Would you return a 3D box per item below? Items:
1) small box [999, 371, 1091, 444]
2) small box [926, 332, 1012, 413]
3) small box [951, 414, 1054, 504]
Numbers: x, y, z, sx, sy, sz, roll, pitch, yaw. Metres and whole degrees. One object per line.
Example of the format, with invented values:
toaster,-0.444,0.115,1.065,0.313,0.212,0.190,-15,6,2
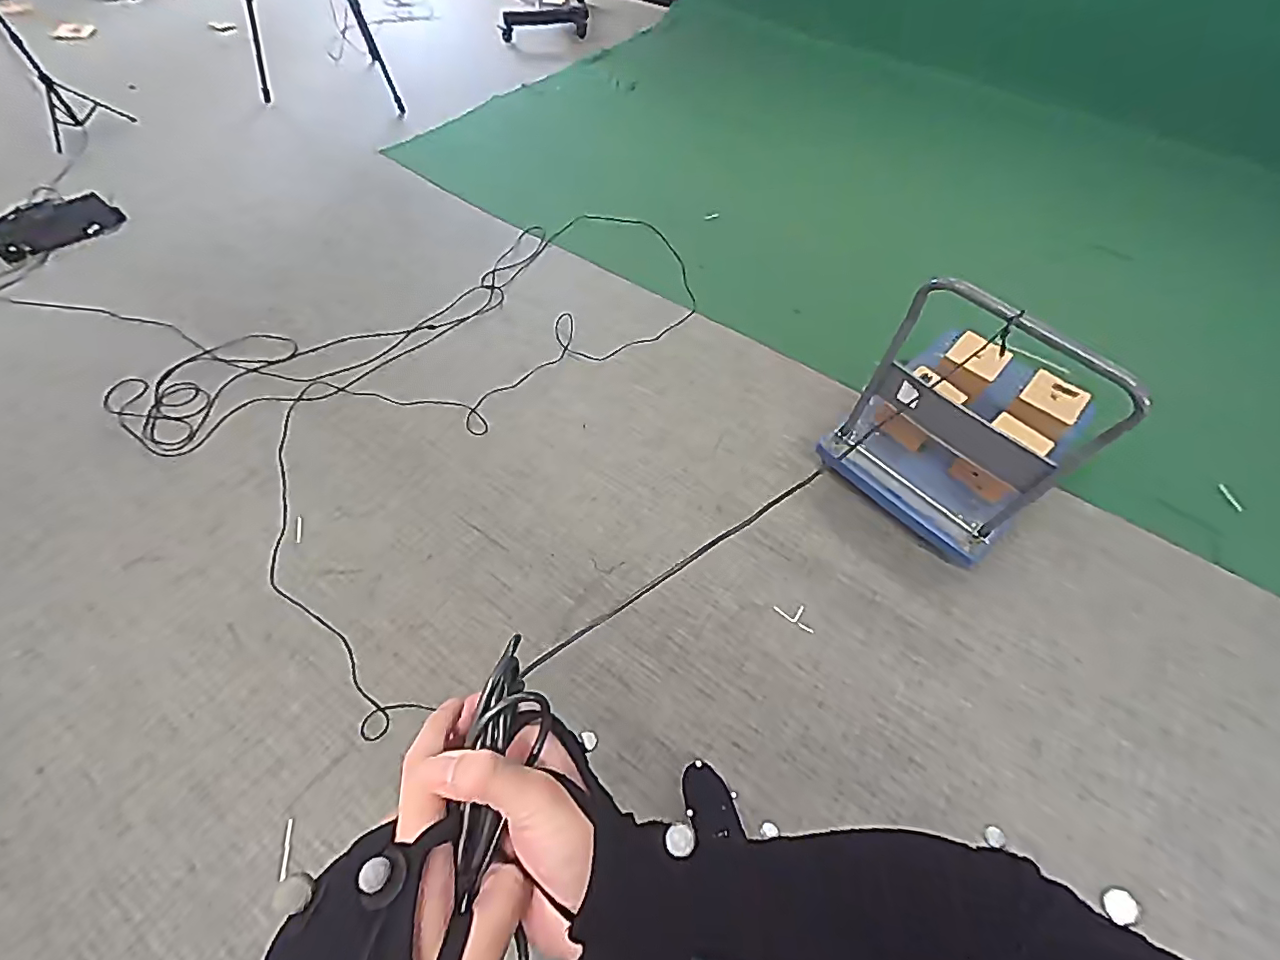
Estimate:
small box,1.294,-0.214,1.753,0.168,0.176,0.179,39,64,22
small box,1.112,-0.362,1.844,0.168,0.176,0.179,40,64,21
small box,1.095,-0.063,1.649,0.179,0.176,0.168,-36,65,-22
